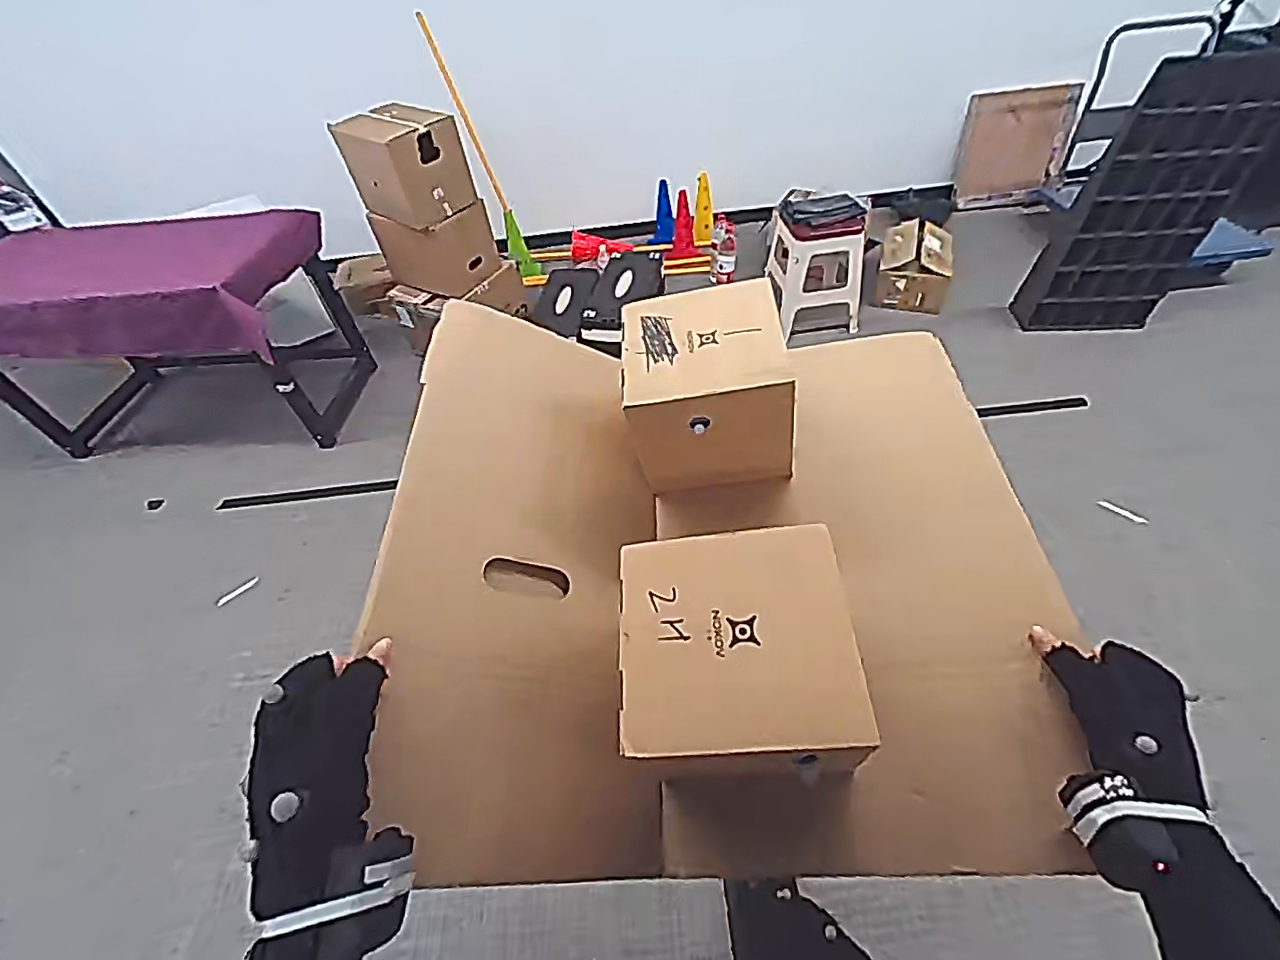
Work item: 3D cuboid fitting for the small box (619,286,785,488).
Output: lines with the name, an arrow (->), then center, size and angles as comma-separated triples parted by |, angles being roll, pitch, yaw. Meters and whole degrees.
small box -> 0.079, -0.104, 0.665 | 0.179, 0.176, 0.168 | -8, 55, 9

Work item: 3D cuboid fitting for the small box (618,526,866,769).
small box -> 0.085, 0.159, 0.487 | 0.179, 0.176, 0.168 | -8, 55, 11
